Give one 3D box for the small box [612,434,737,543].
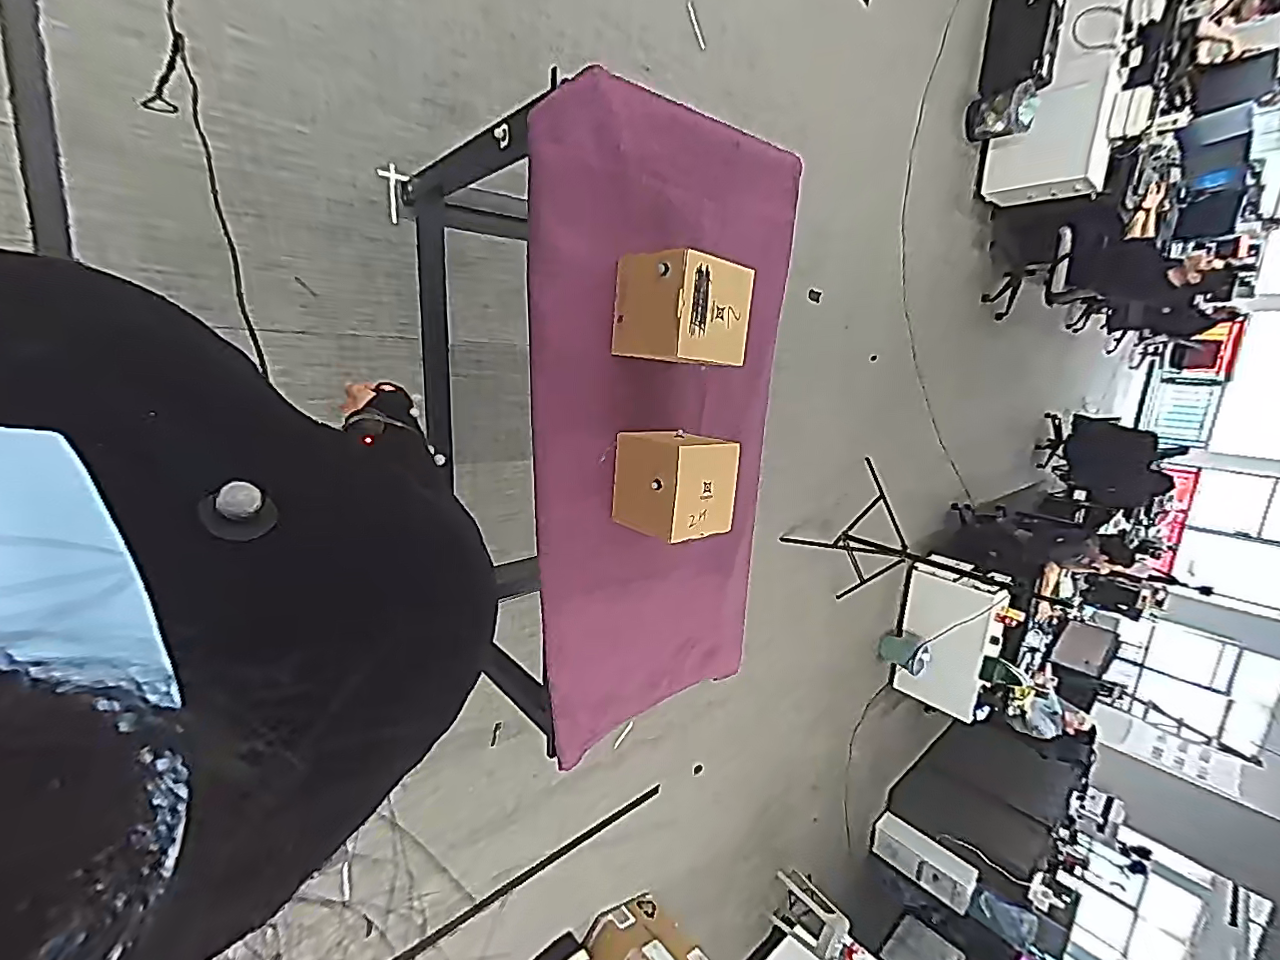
[{"bbox_3d":[0.062,0.006,1.032,0.168,0.176,0.179,-5,105,-41],"label":"small box"}]
